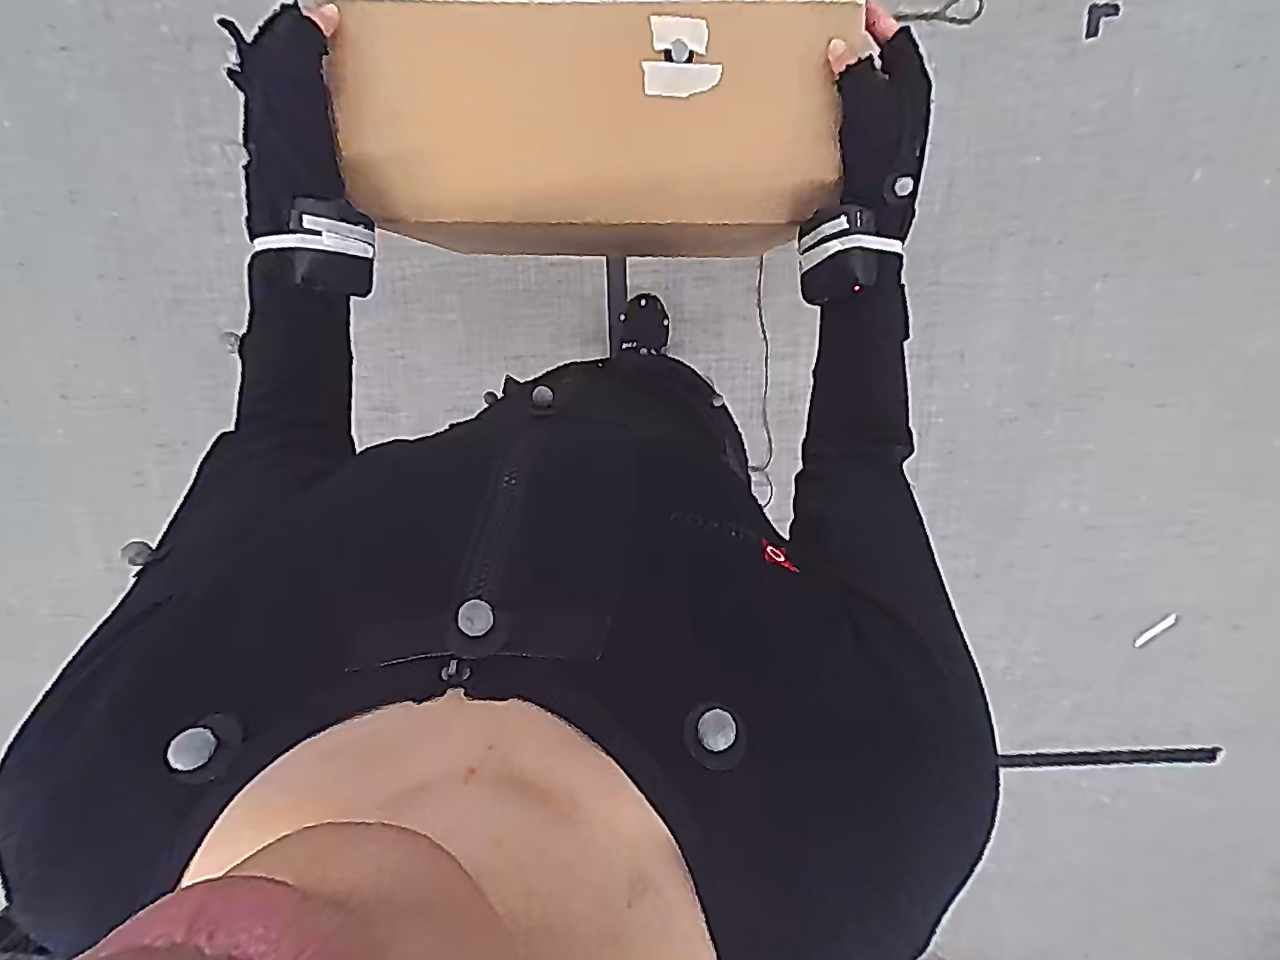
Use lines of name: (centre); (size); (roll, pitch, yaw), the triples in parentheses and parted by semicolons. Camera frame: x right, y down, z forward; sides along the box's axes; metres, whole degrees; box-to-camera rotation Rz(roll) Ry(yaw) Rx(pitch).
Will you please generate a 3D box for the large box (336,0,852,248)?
large box: (-0.039, -0.422, 0.553); (0.408, 0.320, 0.320); (-1, 109, -2)
